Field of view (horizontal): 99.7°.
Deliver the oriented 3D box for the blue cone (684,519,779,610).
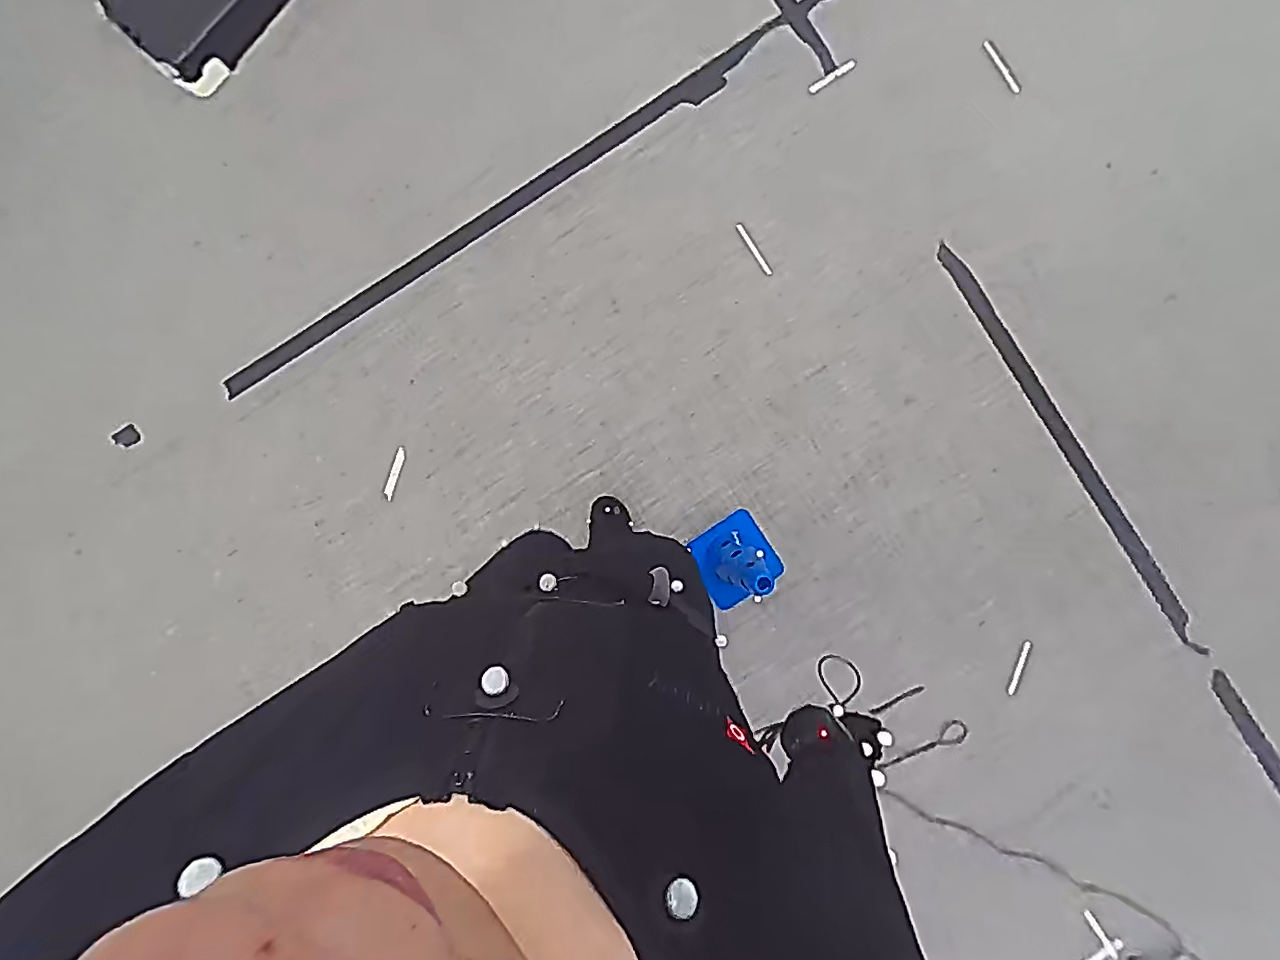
[{"bbox_3d":[0.230,0.209,1.193,0.192,0.380,0.193,-32,89,1],"label":"blue cone"}]
